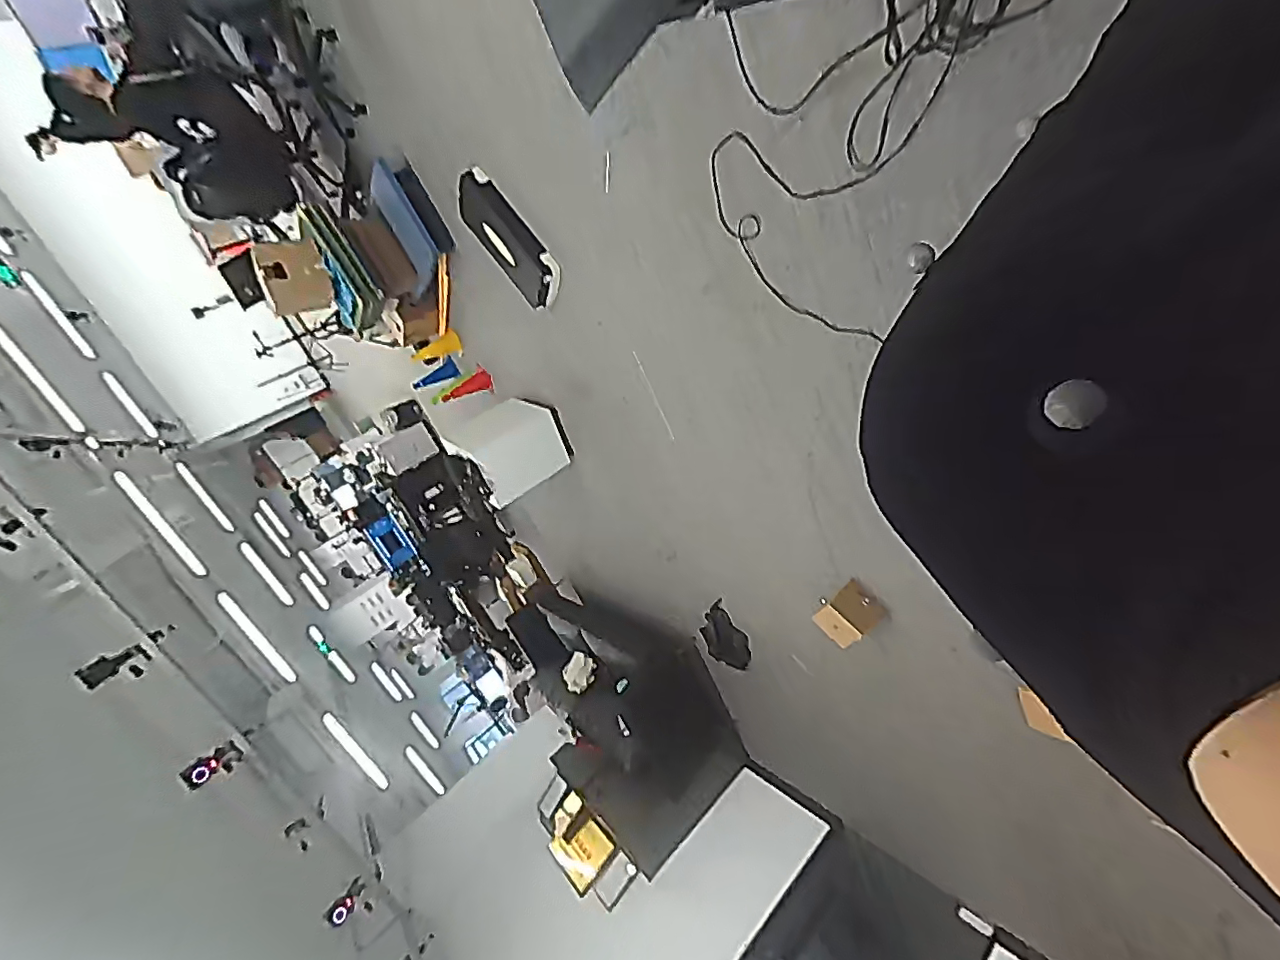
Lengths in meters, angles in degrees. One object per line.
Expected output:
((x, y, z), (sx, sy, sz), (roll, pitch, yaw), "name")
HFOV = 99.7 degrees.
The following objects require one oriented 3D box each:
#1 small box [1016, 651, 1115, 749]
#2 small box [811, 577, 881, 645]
((1.238, 0.626, 1.566), (0.179, 0.176, 0.168), (3, 125, 58), "small box")
((0.816, 0.517, 2.135), (0.168, 0.176, 0.179), (43, 151, 18), "small box")
